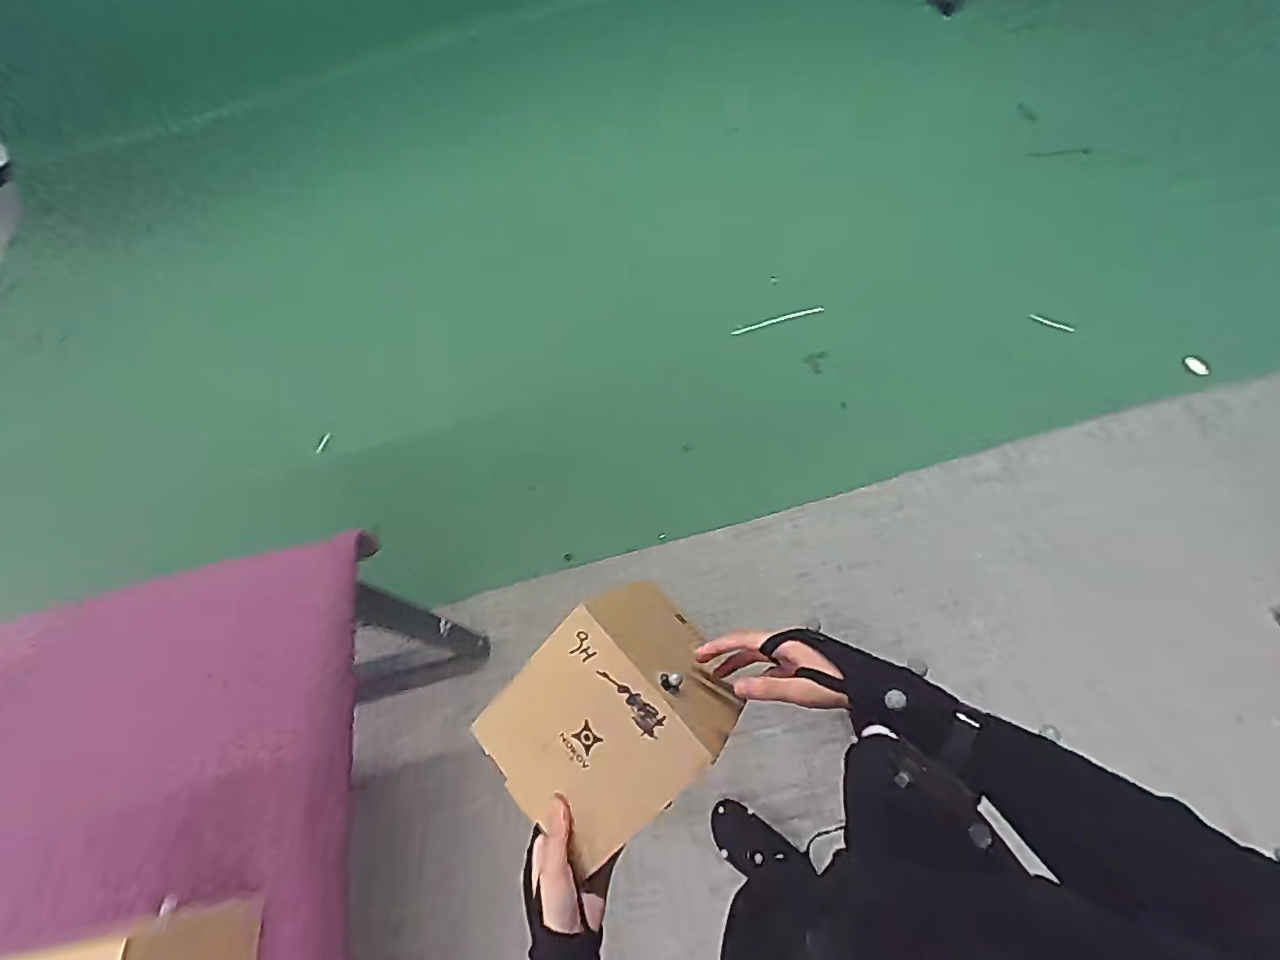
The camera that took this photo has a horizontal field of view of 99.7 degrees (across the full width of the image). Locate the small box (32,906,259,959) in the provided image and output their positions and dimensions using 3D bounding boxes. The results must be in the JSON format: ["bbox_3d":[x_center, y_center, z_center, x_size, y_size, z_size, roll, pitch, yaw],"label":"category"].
[{"bbox_3d":[-0.516,0.555,0.528,0.168,0.176,0.179,-13,62,4],"label":"small box"}]
